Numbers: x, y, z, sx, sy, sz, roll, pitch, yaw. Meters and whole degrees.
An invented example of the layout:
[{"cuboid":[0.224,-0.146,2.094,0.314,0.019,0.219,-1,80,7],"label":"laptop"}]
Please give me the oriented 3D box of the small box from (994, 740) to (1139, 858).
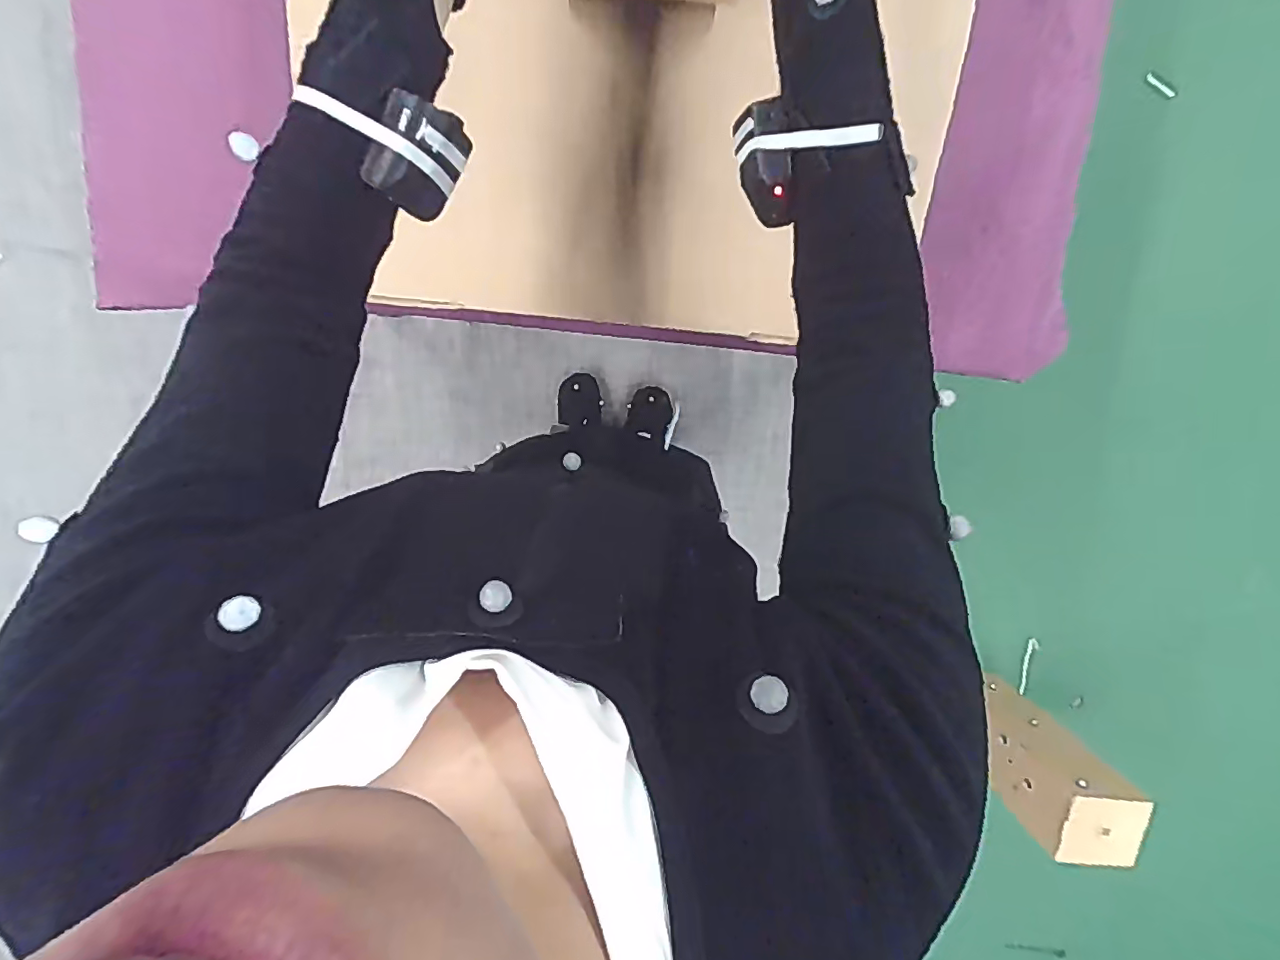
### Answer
[{"cuboid":[0.964,0.724,1.239,0.179,0.176,0.168,5,102,-3],"label":"small box"}]
